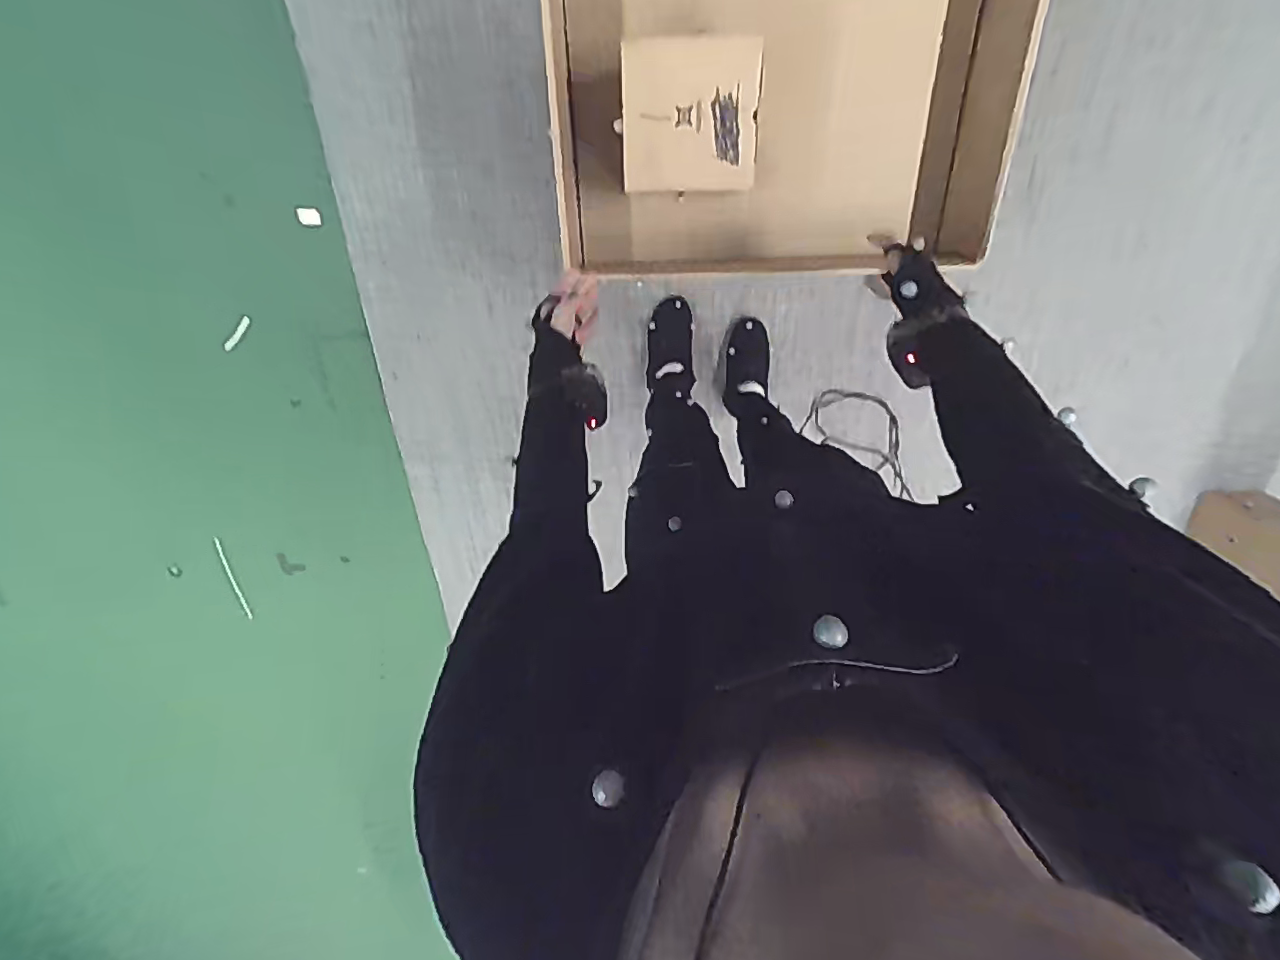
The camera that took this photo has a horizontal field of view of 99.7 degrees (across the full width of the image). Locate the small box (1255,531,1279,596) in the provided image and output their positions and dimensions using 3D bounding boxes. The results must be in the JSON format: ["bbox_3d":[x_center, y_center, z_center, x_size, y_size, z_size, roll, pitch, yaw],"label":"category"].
[{"bbox_3d":[1.702,0.224,1.329,0.168,0.176,0.179,-2,115,4],"label":"small box"}]

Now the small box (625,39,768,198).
[{"bbox_3d":[0.069,-0.492,0.756,0.179,0.176,0.168,0,115,2],"label":"small box"}]

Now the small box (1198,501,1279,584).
[{"bbox_3d":[1.707,0.164,1.482,0.168,0.176,0.179,-3,115,3],"label":"small box"}]
